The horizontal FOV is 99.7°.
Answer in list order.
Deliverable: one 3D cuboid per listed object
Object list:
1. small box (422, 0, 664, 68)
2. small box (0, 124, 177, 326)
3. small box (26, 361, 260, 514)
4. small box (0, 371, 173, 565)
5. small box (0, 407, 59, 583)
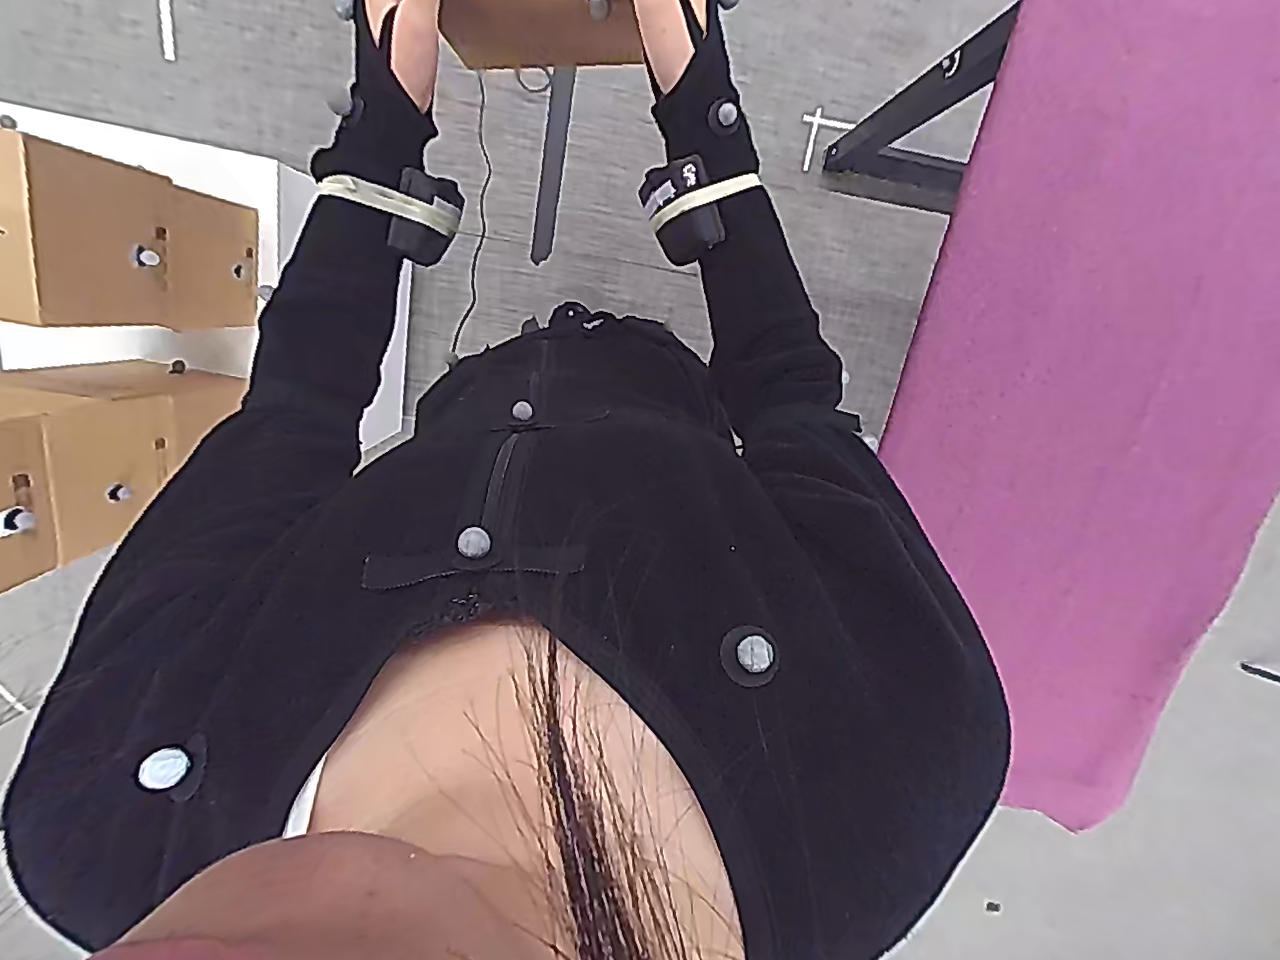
[{"bbox_3d":[-0.068,-0.420,0.379,0.179,0.176,0.168,-1,107,0],"label":"small box"},{"bbox_3d":[-0.617,-0.255,0.538,0.179,0.176,0.168,11,107,-7],"label":"small box"},{"bbox_3d":[-0.681,-0.070,0.763,0.179,0.176,0.168,10,107,-5],"label":"small box"},{"bbox_3d":[-0.672,-0.023,0.607,0.179,0.176,0.168,9,106,-5],"label":"small box"},{"bbox_3d":[-0.666,0.022,0.451,0.179,0.176,0.168,8,107,-6],"label":"small box"}]
